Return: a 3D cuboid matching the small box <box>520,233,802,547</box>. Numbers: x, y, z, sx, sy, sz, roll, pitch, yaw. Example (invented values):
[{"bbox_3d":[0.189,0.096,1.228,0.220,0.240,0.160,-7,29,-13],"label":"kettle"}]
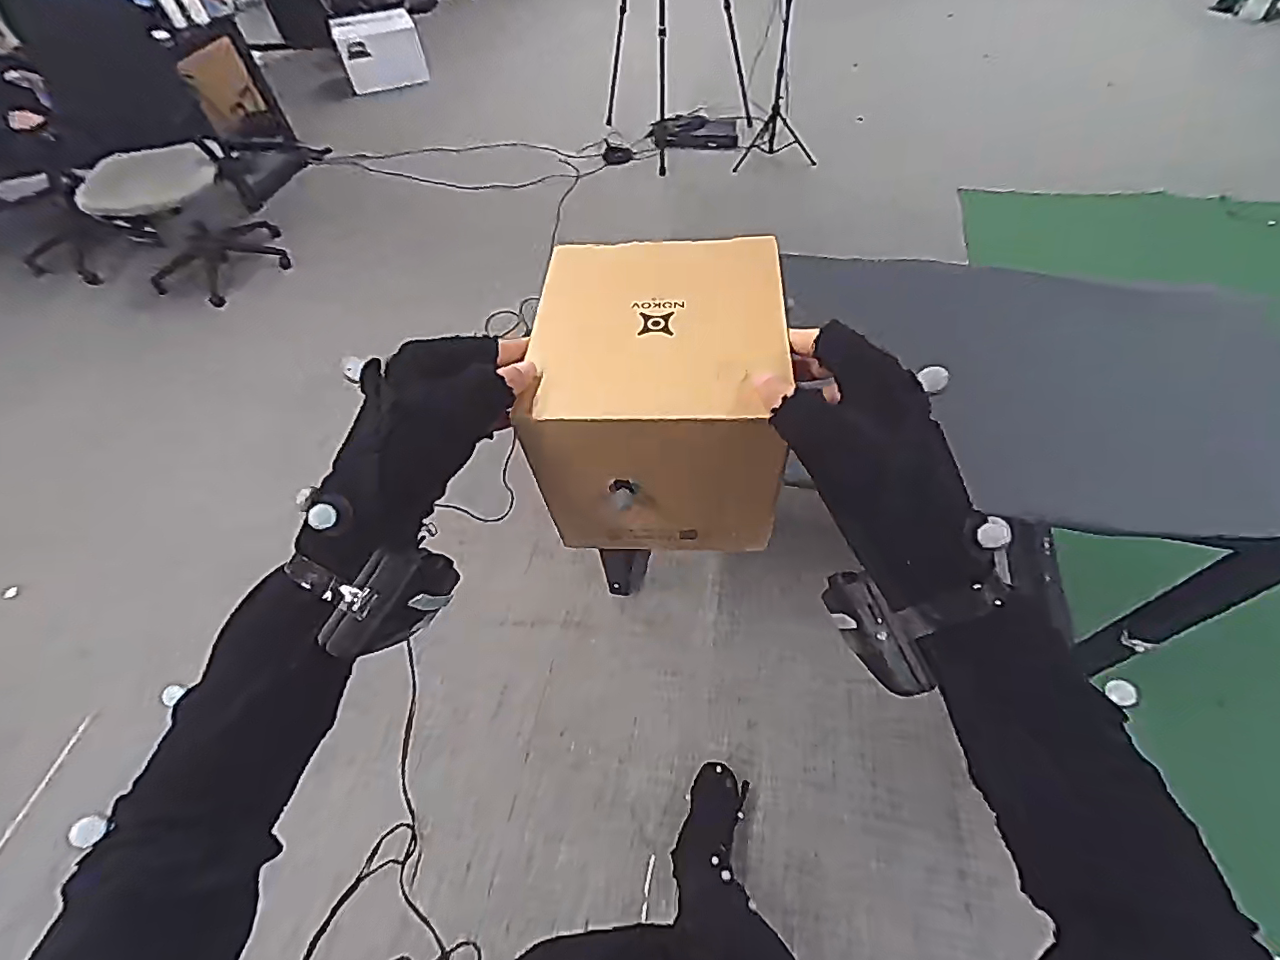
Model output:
[{"bbox_3d":[0.024,-0.060,0.416,0.168,0.176,0.179,0,55,6],"label":"small box"}]
